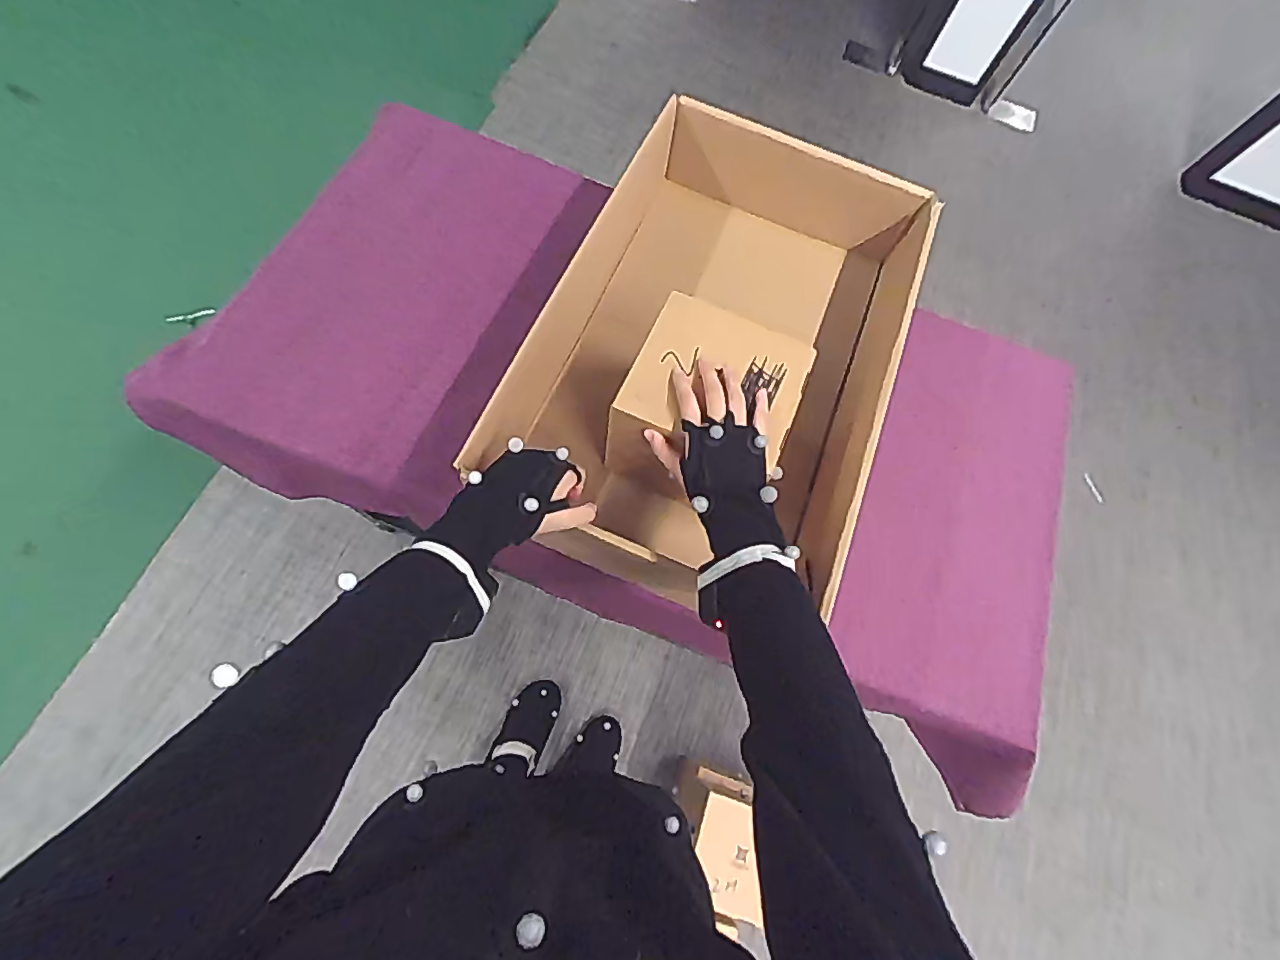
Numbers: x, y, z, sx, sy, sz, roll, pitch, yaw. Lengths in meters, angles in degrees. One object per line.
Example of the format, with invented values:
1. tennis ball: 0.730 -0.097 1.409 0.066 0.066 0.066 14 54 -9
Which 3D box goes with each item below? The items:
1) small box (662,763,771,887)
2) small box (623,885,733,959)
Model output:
1. small box: 0.163 0.746 1.193 0.179 0.176 0.168 21 70 2
2. small box: 0.070 0.964 1.103 0.179 0.176 0.168 17 69 -2
